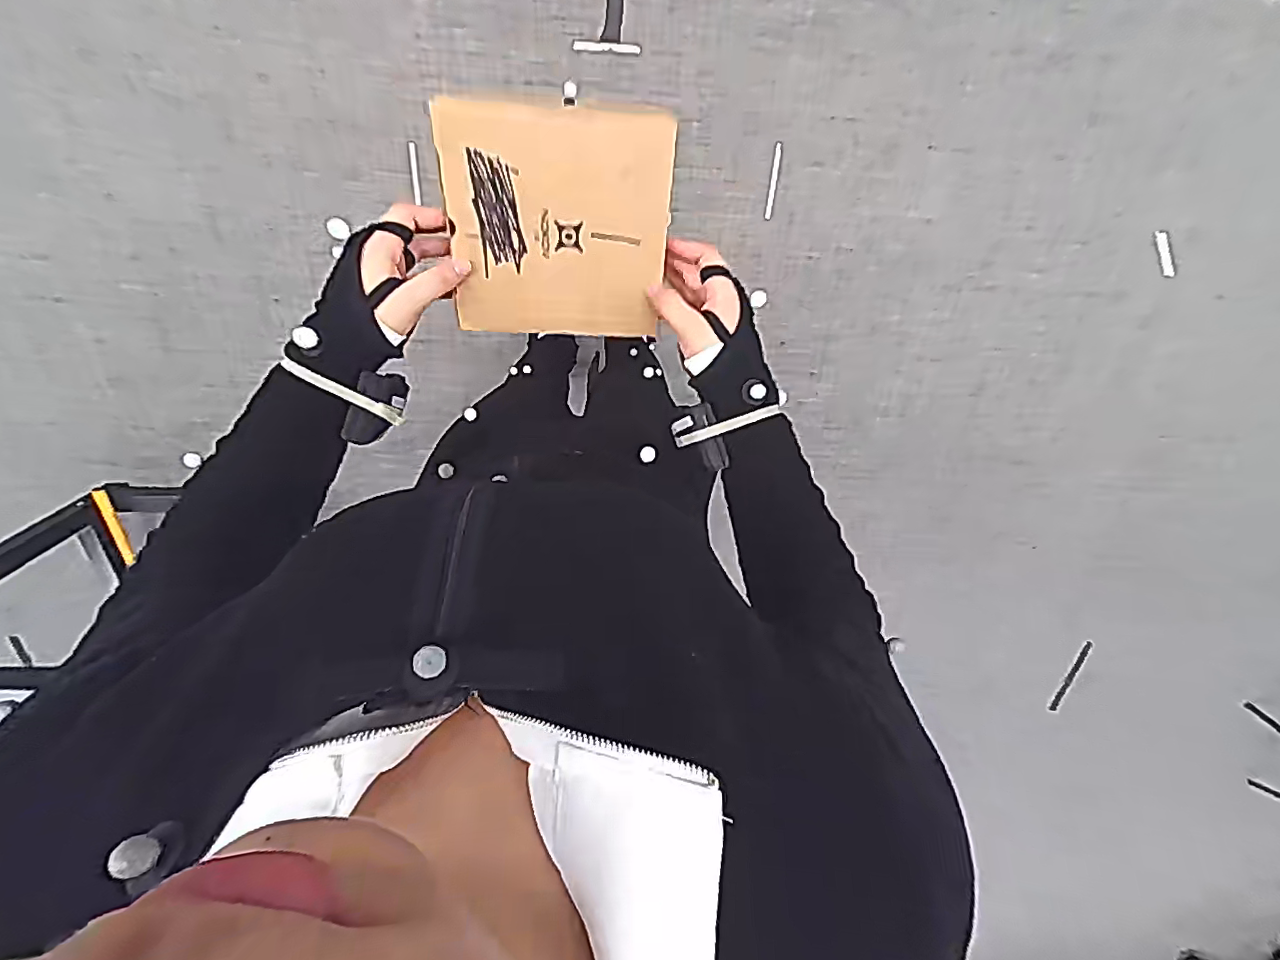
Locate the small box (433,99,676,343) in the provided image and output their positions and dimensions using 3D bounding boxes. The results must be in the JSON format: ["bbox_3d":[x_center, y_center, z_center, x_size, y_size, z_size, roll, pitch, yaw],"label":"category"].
[{"bbox_3d":[-0.072,-0.240,0.495,0.179,0.176,0.168,1,127,-7],"label":"small box"}]
